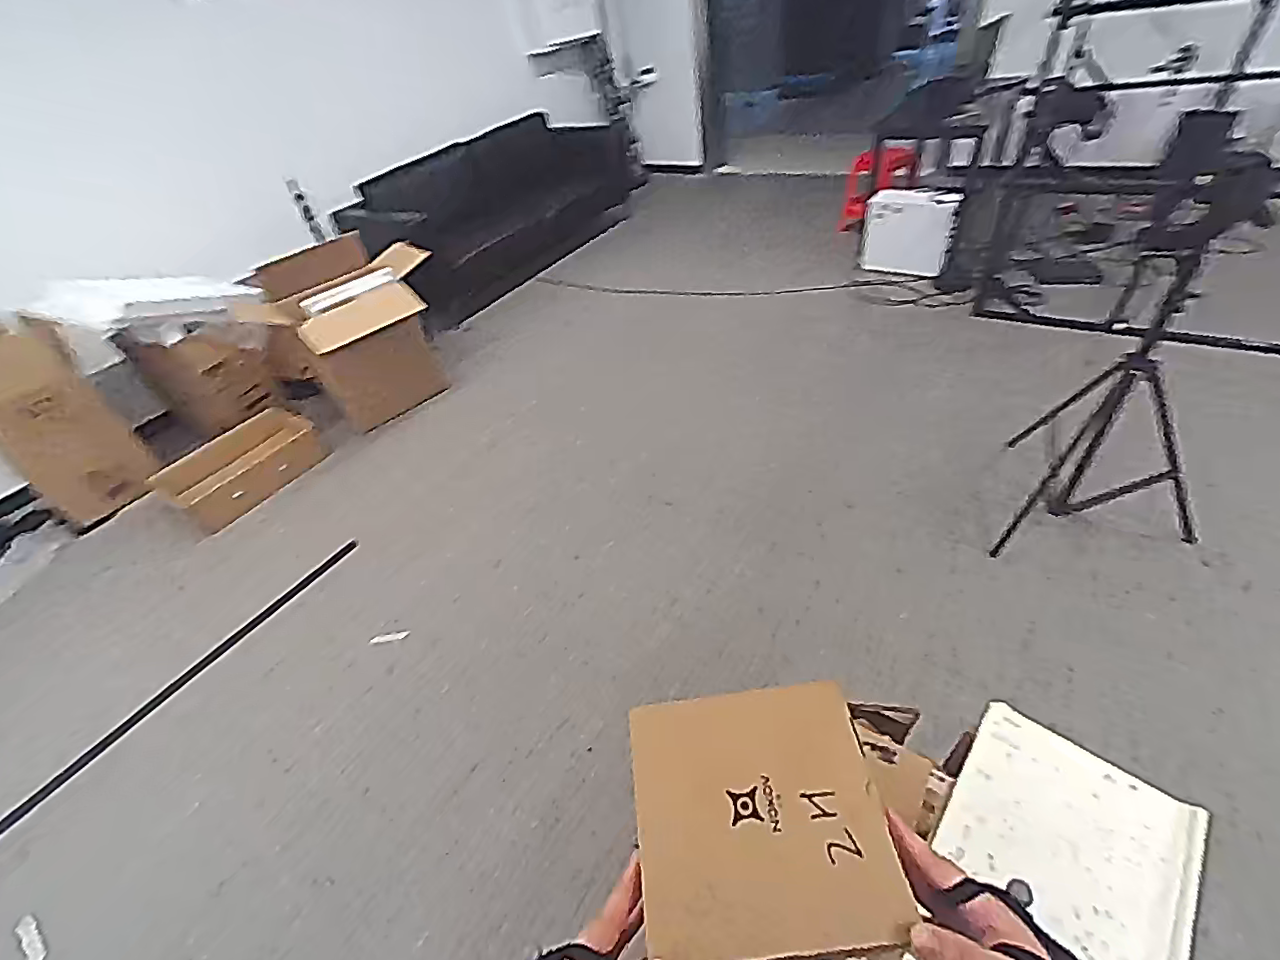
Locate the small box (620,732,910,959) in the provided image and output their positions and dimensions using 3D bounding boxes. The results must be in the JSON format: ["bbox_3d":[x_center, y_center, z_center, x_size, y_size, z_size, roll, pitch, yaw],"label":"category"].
[{"bbox_3d":[0.086,0.323,0.431,0.179,0.176,0.168,-8,47,1],"label":"small box"}]

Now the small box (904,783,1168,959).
[{"bbox_3d":[0.414,0.481,0.589,0.168,0.176,0.179,28,56,31],"label":"small box"}]
